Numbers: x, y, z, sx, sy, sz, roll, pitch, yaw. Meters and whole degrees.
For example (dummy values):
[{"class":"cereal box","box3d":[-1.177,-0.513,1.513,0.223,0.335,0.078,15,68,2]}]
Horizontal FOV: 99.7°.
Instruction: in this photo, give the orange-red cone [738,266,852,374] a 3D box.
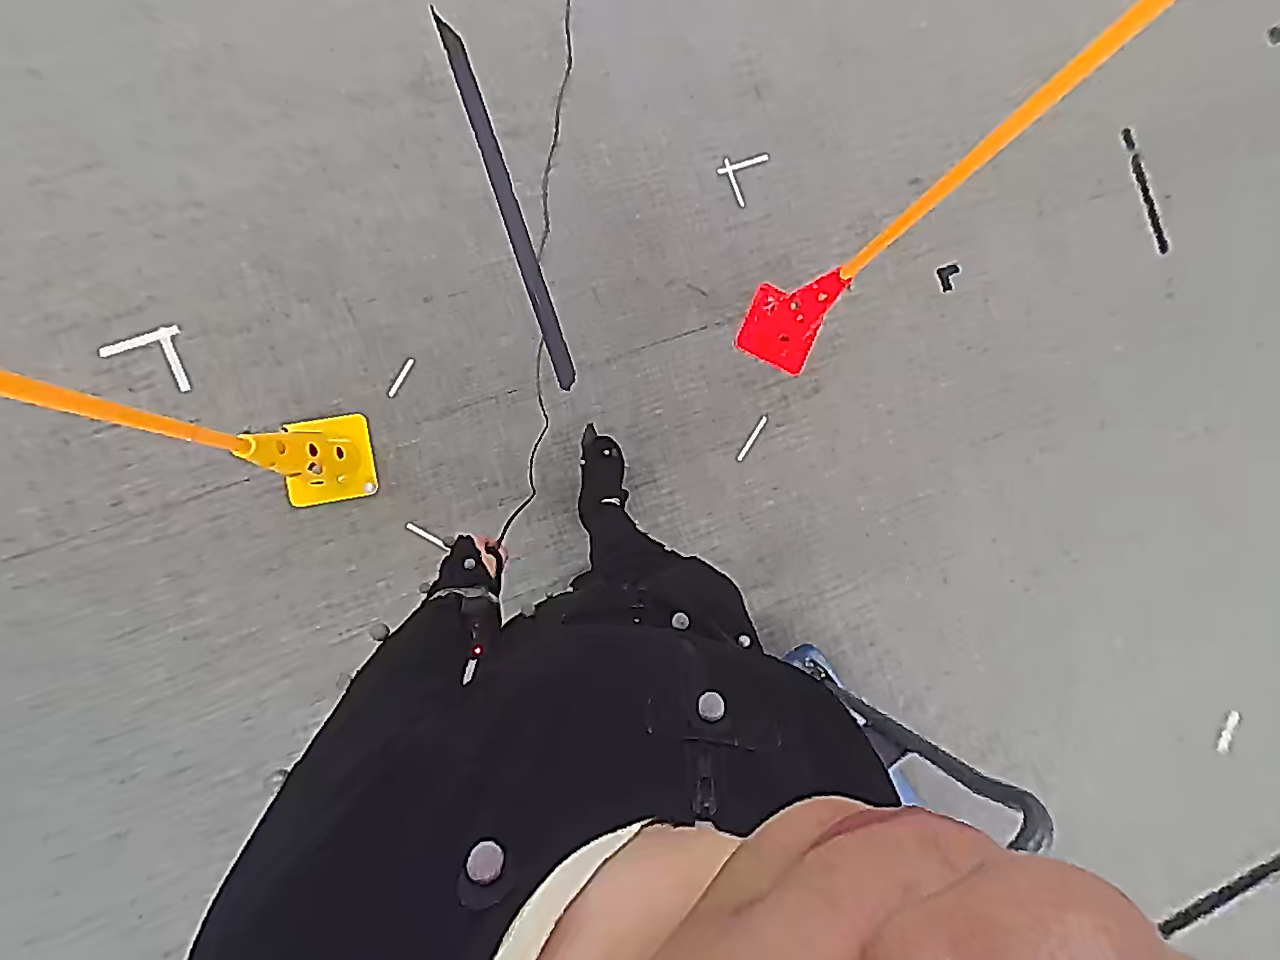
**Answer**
[{"class":"orange-red cone","box3d":[0.399,-0.412,1.282,0.198,0.360,0.199,26,85,-5]}]
